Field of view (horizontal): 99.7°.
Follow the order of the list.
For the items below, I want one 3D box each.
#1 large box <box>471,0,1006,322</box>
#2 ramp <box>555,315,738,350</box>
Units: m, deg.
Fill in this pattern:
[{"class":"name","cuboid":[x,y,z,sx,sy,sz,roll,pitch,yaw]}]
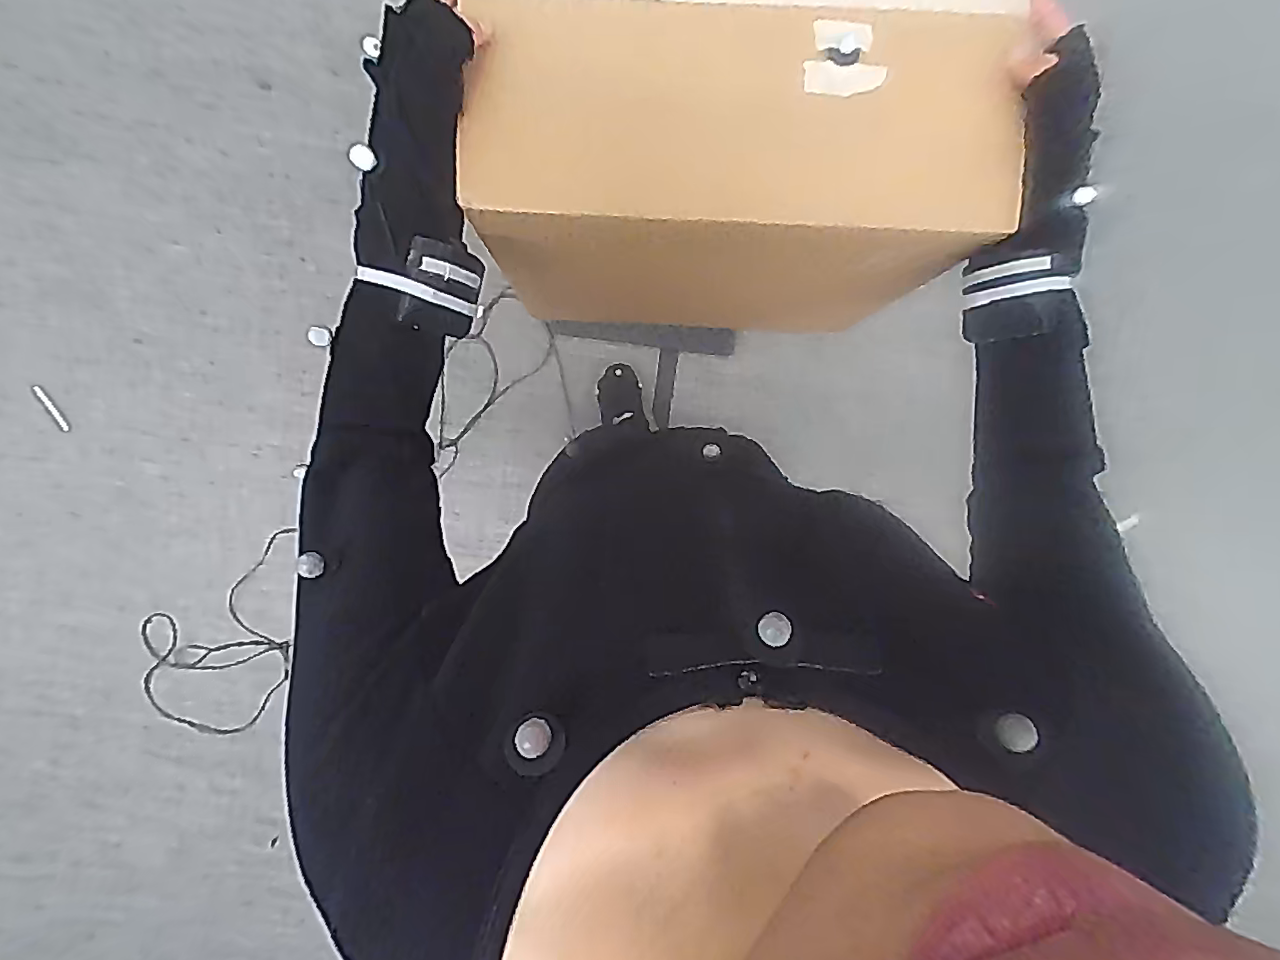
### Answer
[{"class":"large box","cuboid":[0.068,-0.356,0.547,0.408,0.320,0.320,2,92,-3]},{"class":"ramp","cuboid":[0.072,-0.854,1.328,0.509,0.206,0.991,5,95,-2]}]
